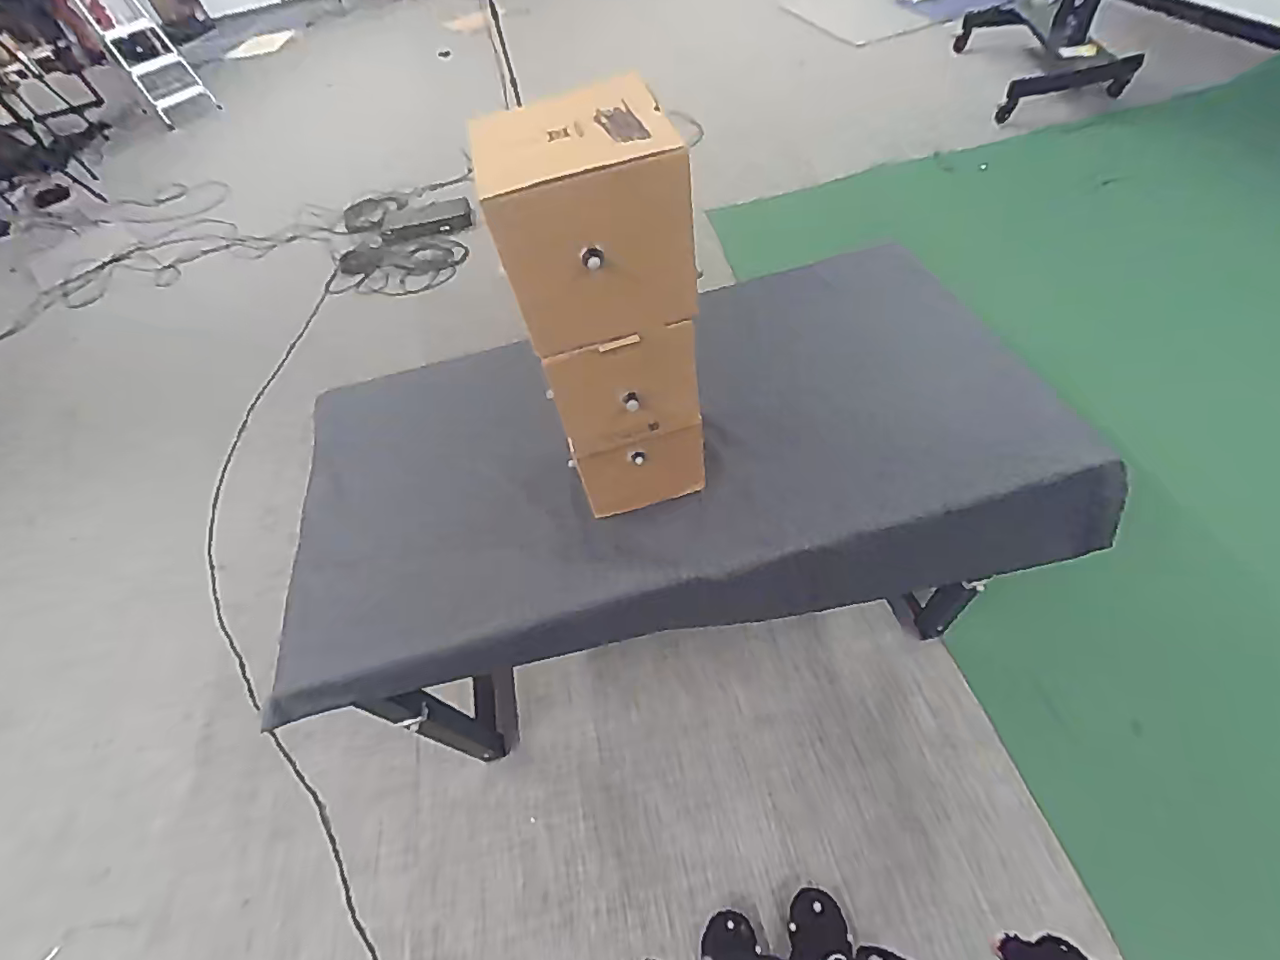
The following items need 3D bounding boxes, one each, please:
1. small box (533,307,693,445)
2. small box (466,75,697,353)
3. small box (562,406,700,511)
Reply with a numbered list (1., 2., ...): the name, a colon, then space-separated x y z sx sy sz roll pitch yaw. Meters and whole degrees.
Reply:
1. small box: -0.036 -0.163 0.669 0.168 0.176 0.179 -16 55 -2
2. small box: -0.051 -0.255 0.533 0.179 0.176 0.168 -17 55 -4
3. small box: -0.017 -0.075 0.805 0.179 0.176 0.168 -15 55 -3
